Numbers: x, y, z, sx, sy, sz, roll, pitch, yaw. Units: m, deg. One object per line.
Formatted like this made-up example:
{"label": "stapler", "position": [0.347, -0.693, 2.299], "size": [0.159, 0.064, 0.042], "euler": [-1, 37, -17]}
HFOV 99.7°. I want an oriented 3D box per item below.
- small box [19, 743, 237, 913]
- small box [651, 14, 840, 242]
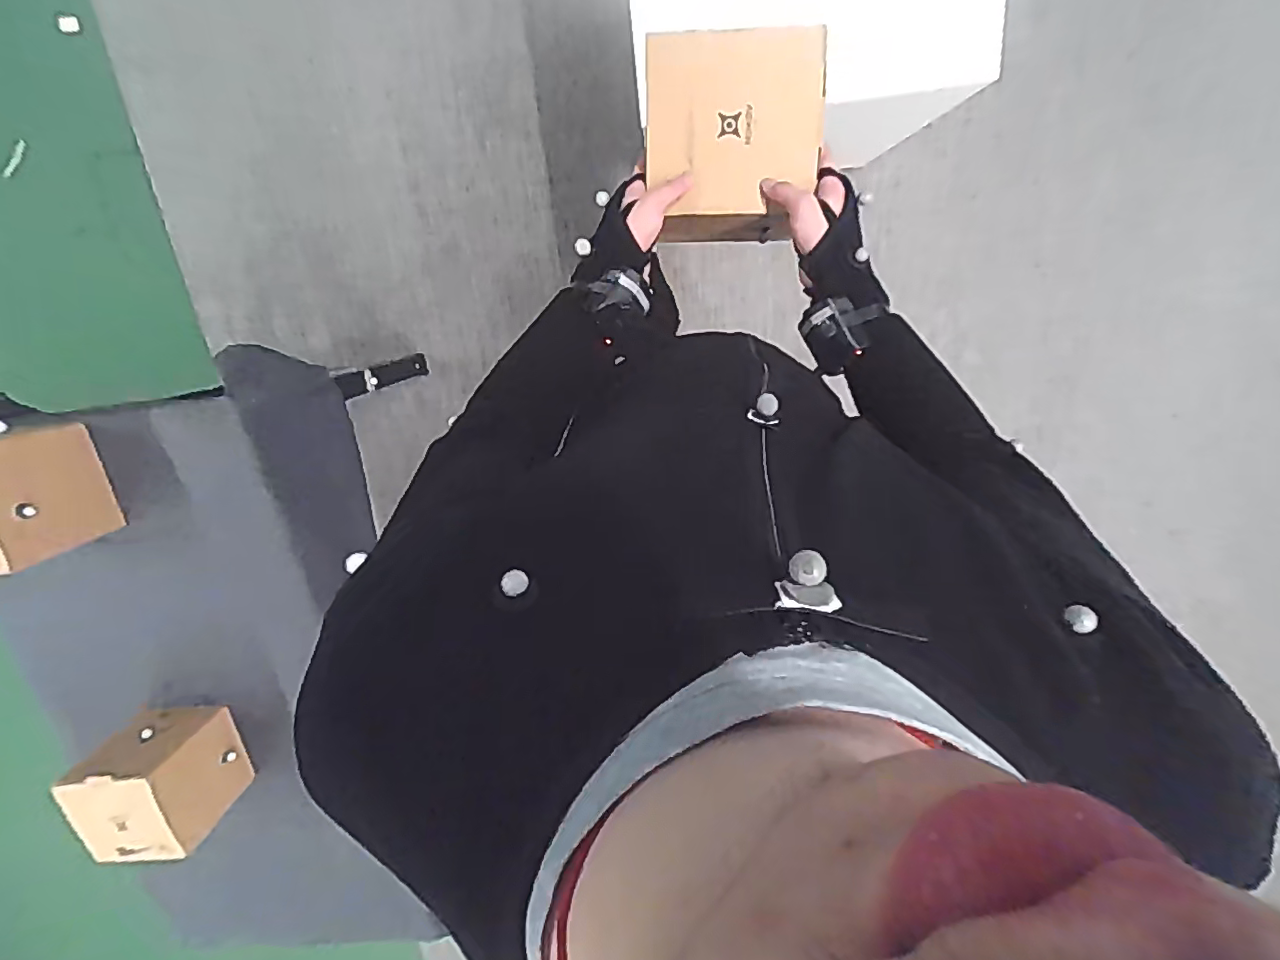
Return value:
{"label": "small box", "position": [-0.824, 0.561, 0.894], "size": [0.168, 0.176, 0.179], "euler": [-7, 107, 2]}
{"label": "small box", "position": [0.101, -0.365, 0.593], "size": [0.179, 0.176, 0.168], "euler": [0, 103, 4]}
